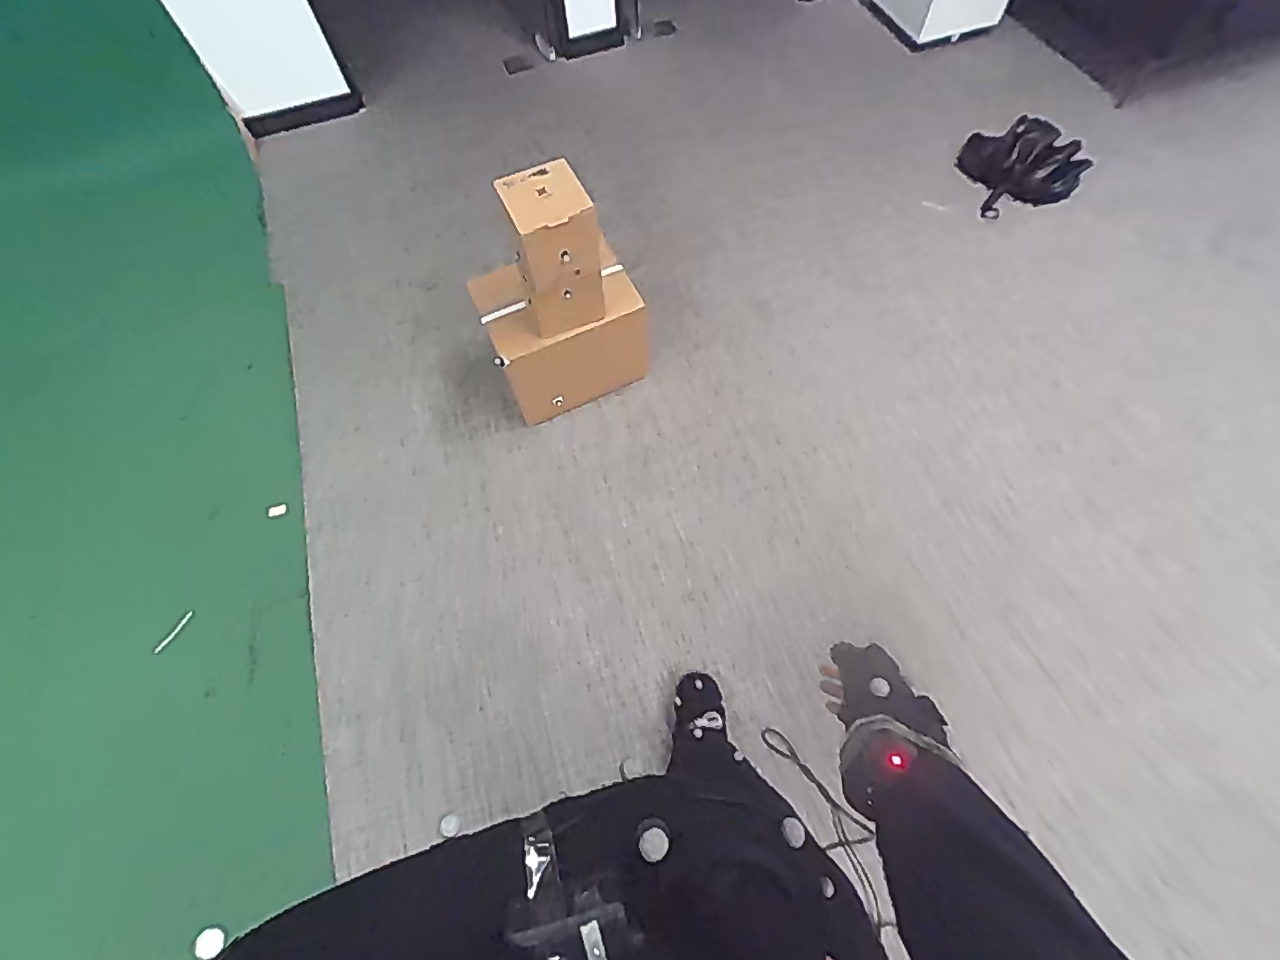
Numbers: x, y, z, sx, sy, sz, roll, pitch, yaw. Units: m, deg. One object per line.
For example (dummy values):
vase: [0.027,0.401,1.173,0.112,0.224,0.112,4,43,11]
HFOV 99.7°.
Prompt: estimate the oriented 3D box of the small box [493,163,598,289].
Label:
small box: [-0.202,-0.549,1.195,0.168,0.176,0.179,-23,68,-9]

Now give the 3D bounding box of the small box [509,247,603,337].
small box: [-0.202,-0.484,1.344,0.179,0.176,0.168,-21,67,-9]
